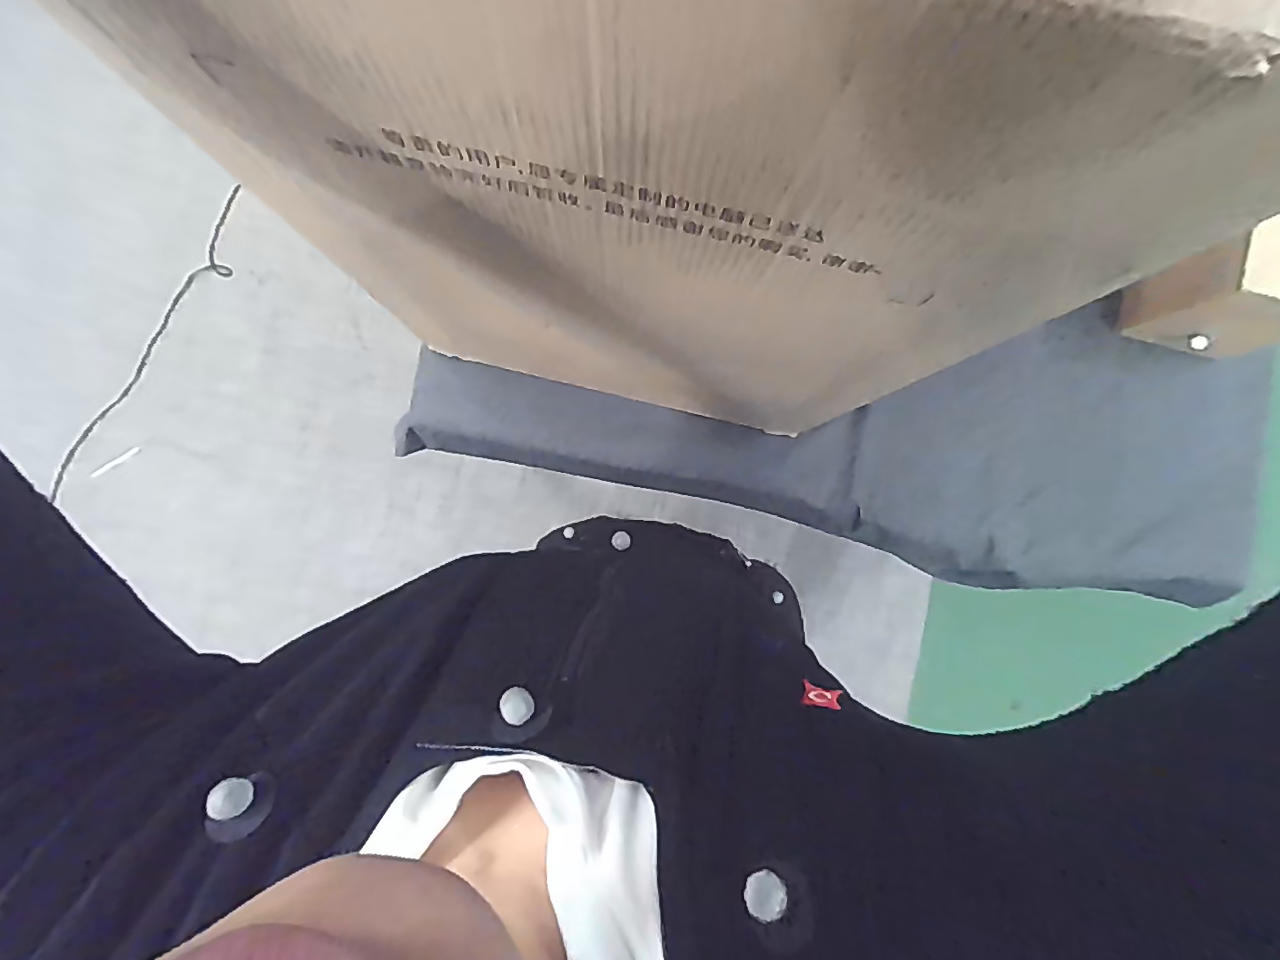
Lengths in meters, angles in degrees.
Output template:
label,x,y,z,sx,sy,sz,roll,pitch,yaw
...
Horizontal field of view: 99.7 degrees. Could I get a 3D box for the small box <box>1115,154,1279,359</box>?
label,x,y,z,sx,sy,sz,roll,pitch,yaw
small box,0.796,-0.284,0.724,0.168,0.176,0.179,15,87,-1
